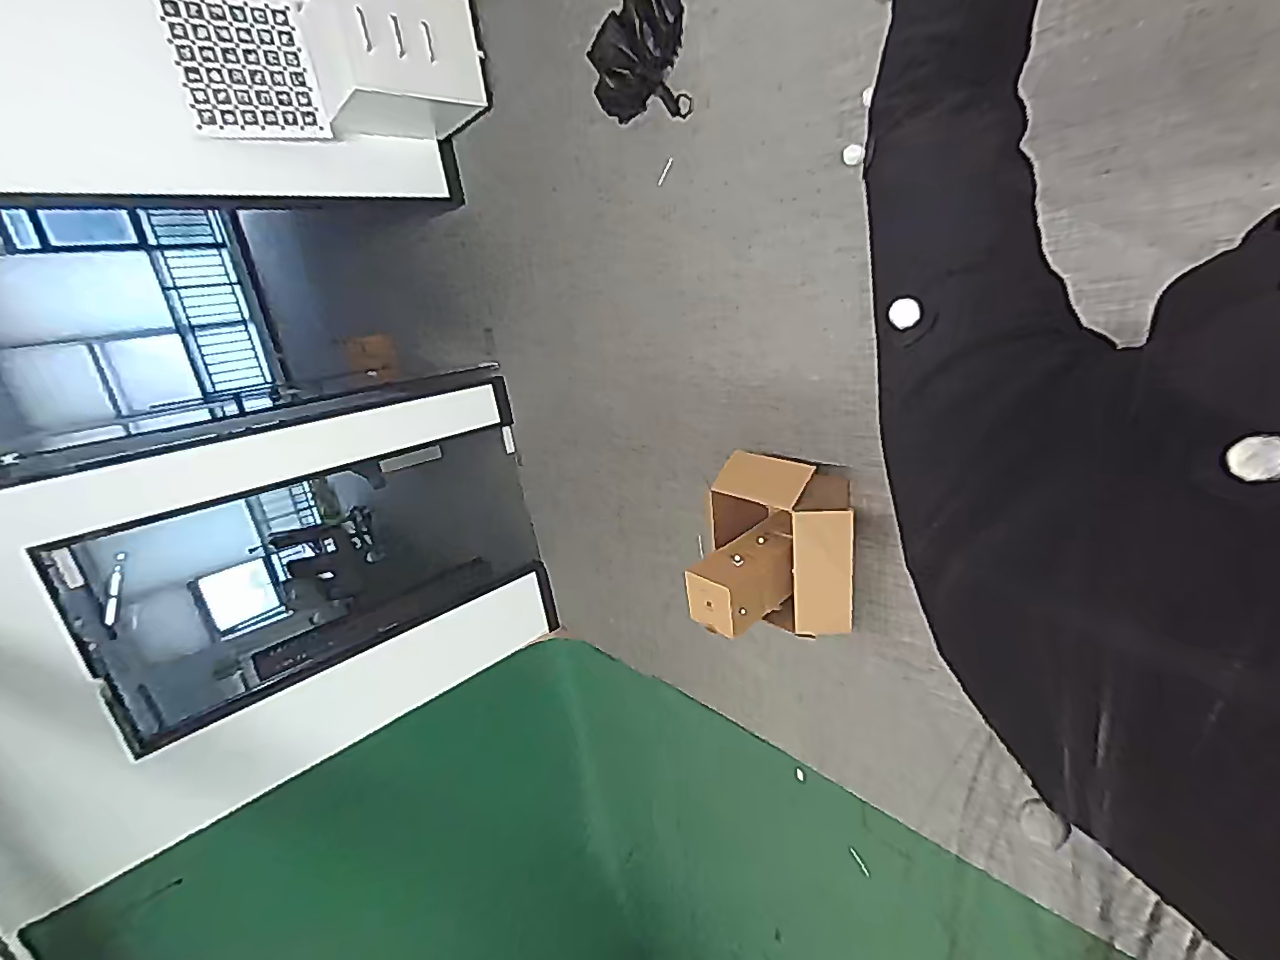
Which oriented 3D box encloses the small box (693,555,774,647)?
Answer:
[{"bbox_3d":[0.278,0.349,1.588,0.168,0.176,0.179,14,120,46],"label":"small box"}]
